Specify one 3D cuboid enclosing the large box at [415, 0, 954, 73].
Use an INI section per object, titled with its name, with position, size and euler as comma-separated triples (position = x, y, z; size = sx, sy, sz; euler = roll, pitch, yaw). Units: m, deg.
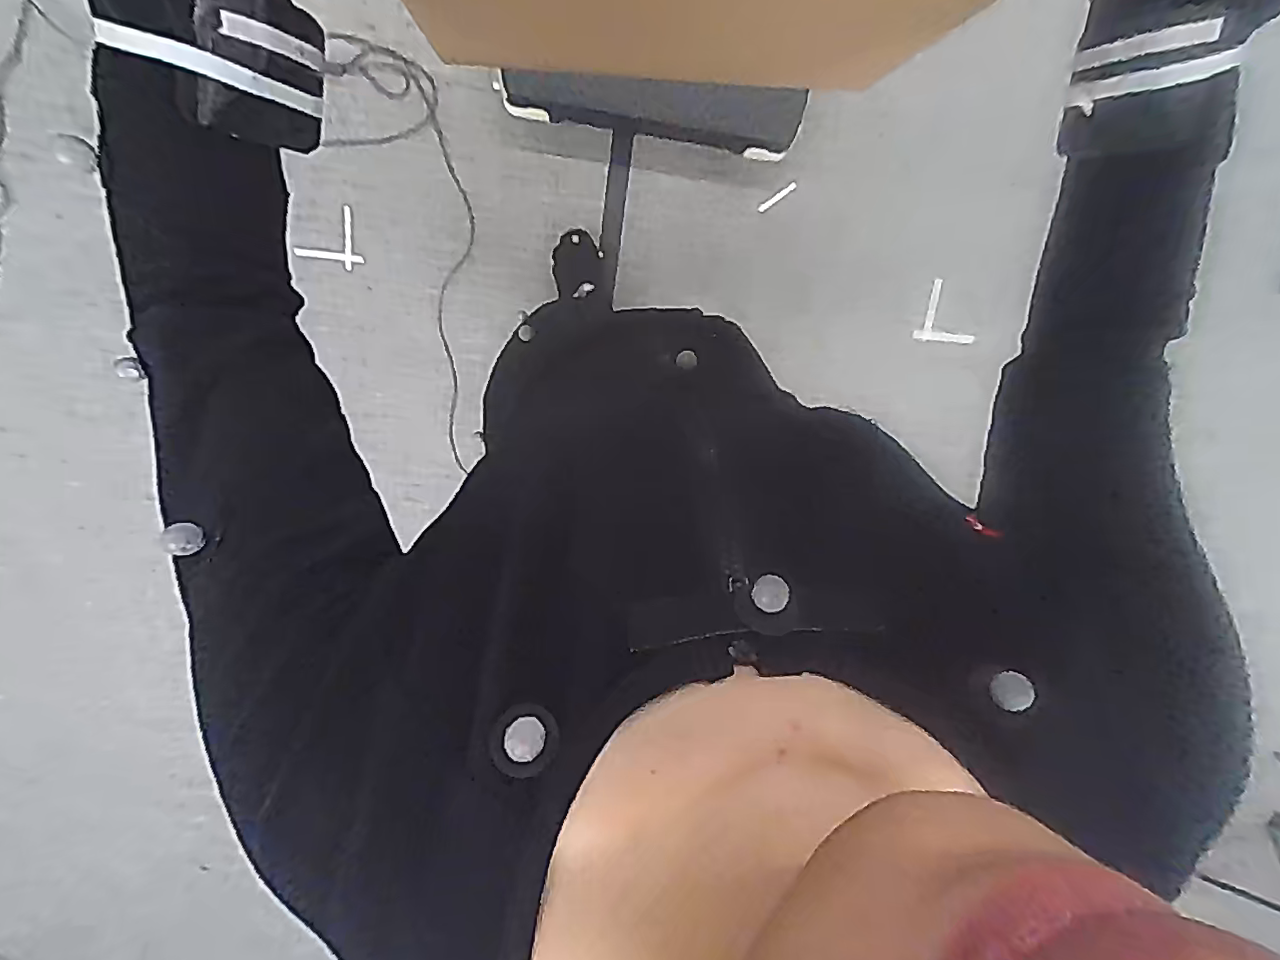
[large box]
position = 0.036, -0.478, 0.314
size = 0.408, 0.320, 0.320
euler = -2, 111, -7
